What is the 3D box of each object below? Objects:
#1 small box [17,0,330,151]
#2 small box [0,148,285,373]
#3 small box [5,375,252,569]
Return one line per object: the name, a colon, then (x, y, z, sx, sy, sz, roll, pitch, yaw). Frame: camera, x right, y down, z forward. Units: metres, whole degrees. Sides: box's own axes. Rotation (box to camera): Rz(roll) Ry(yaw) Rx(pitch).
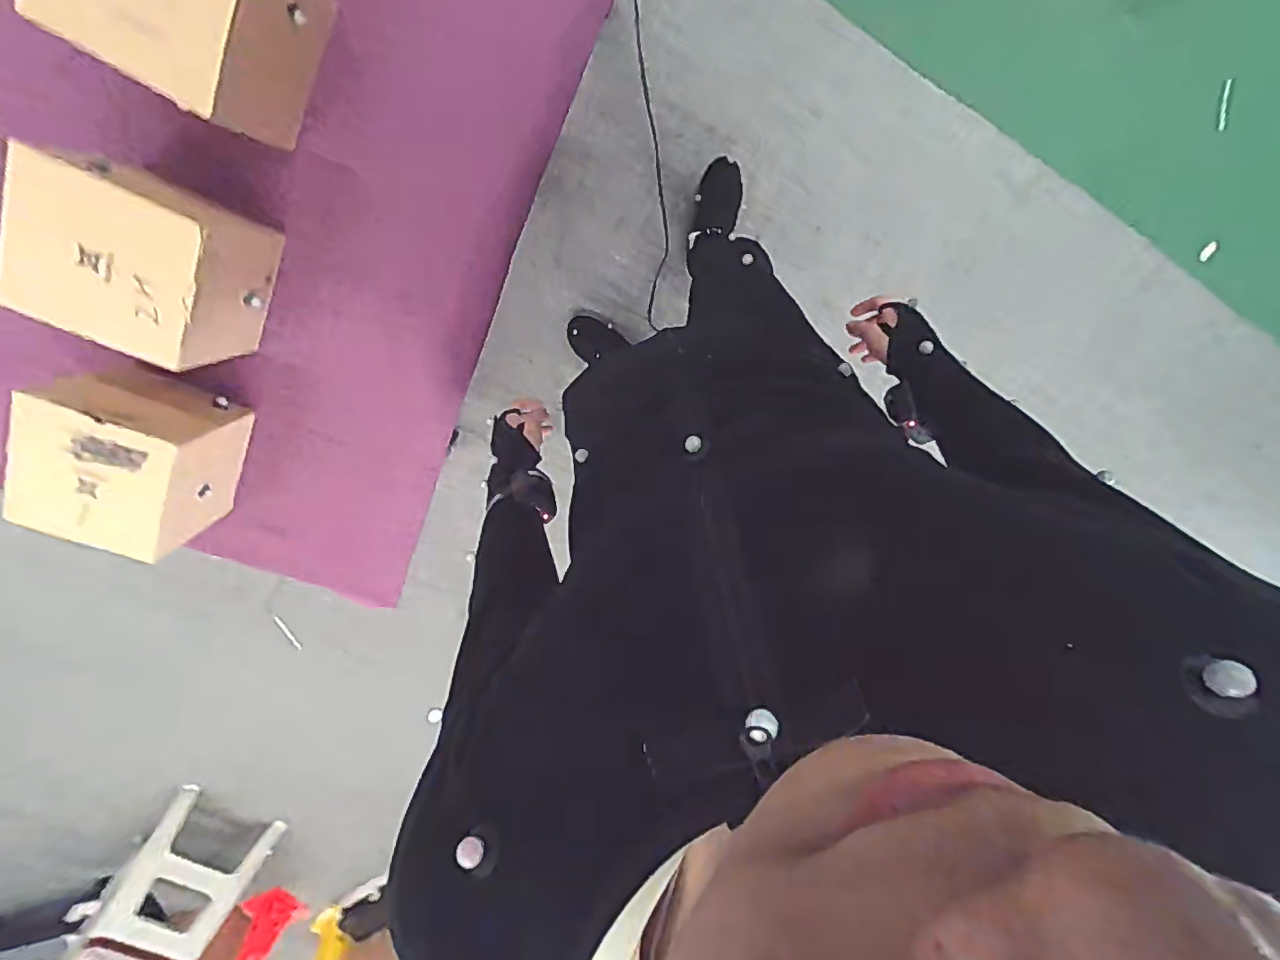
small box: (-0.452, -0.479, 0.555, 0.168, 0.176, 0.179, 27, 107, -15)
small box: (-0.564, -0.246, 0.633, 0.179, 0.176, 0.168, 23, 108, -15)
small box: (-0.653, -0.020, 0.712, 0.168, 0.176, 0.179, 22, 108, -14)
